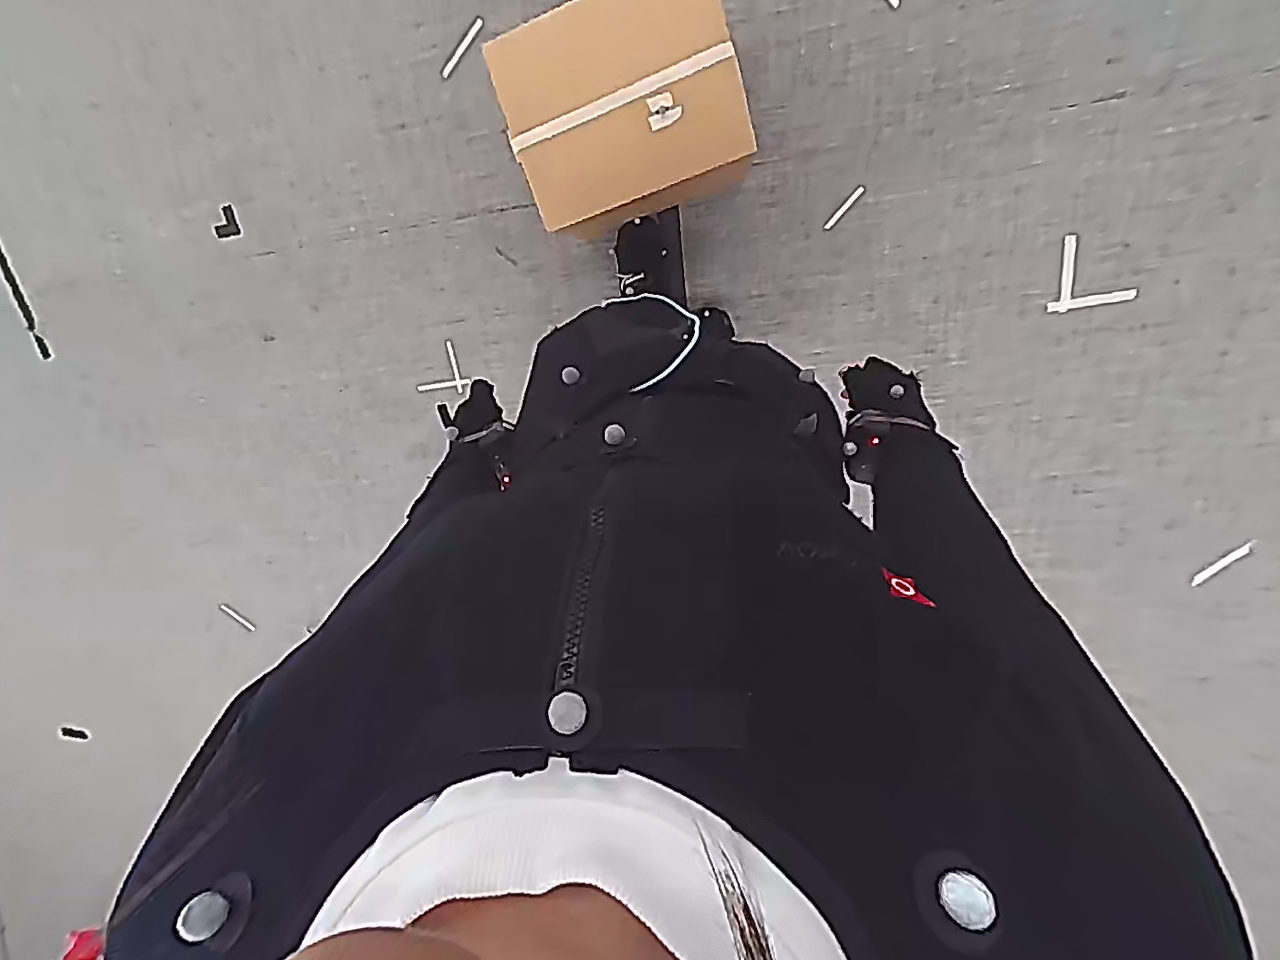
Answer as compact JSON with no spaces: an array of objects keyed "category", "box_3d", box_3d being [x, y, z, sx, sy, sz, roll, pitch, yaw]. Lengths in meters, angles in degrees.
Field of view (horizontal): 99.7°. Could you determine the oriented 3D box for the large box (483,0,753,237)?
[{"category":"large box","box_3d":[-0.023,-0.710,1.062,0.408,0.320,0.320,-15,109,12]}]
